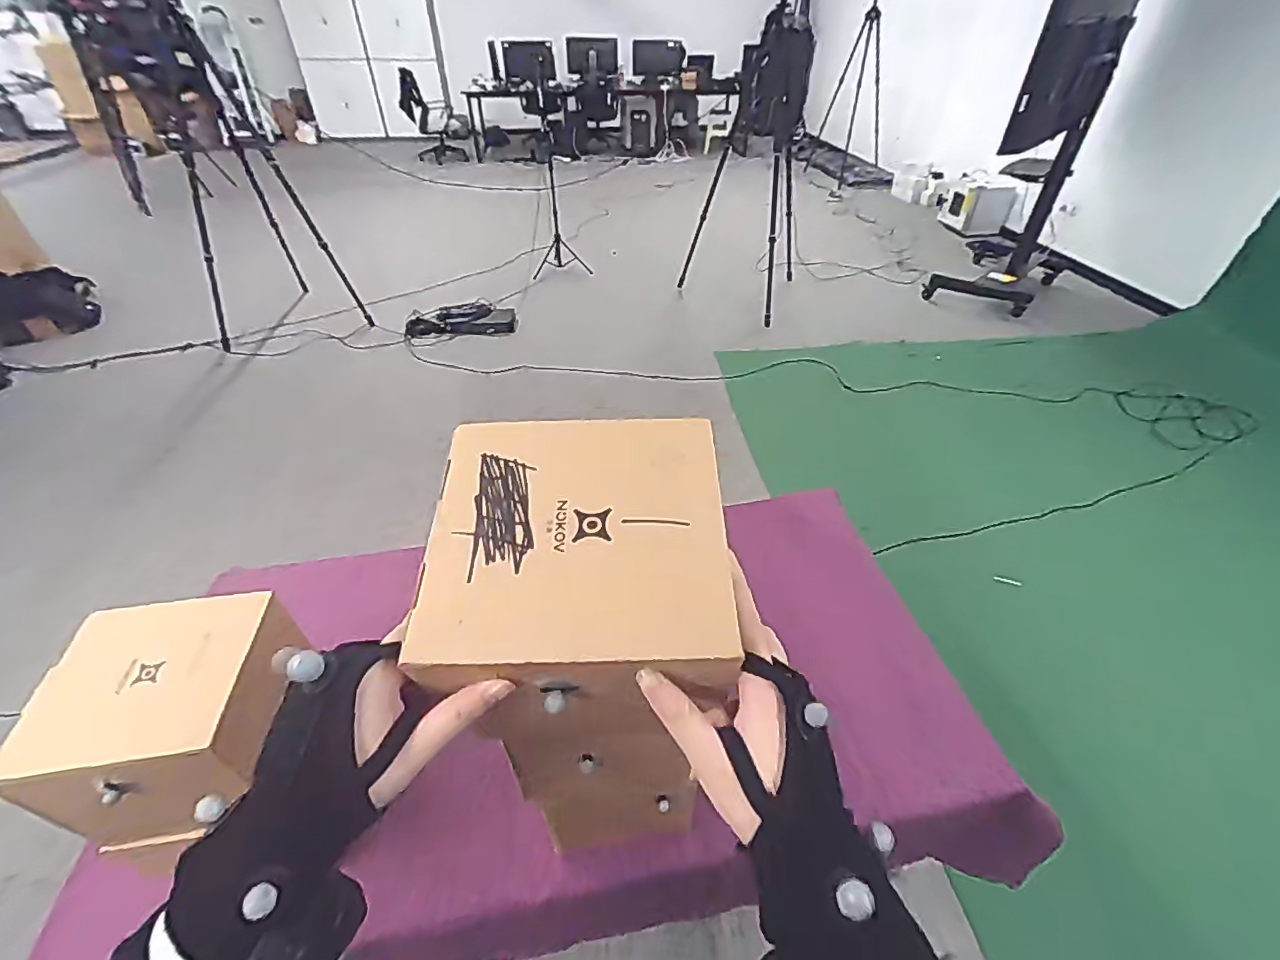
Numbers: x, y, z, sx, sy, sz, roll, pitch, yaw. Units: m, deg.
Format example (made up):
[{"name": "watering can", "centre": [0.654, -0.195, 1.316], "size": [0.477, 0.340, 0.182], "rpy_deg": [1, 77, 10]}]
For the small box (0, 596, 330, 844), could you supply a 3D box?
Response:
[{"name": "small box", "centre": [-0.455, 0.243, 0.549], "size": [0.179, 0.176, 0.168], "rpy_deg": [-6, 43, -7]}]

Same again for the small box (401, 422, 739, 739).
[{"name": "small box", "centre": [-0.036, 0.077, 0.384], "size": [0.179, 0.176, 0.168], "rpy_deg": [-1, 52, -1]}]

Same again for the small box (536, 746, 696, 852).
[{"name": "small box", "centre": [-0.034, 0.344, 0.684], "size": [0.179, 0.176, 0.168], "rpy_deg": [-6, 41, -7]}]

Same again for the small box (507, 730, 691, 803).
[{"name": "small box", "centre": [-0.040, 0.222, 0.573], "size": [0.179, 0.176, 0.168], "rpy_deg": [-3, 41, -3]}]

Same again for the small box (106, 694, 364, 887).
[{"name": "small box", "centre": [-0.460, 0.367, 0.656], "size": [0.168, 0.176, 0.179], "rpy_deg": [-5, 41, -6]}]
